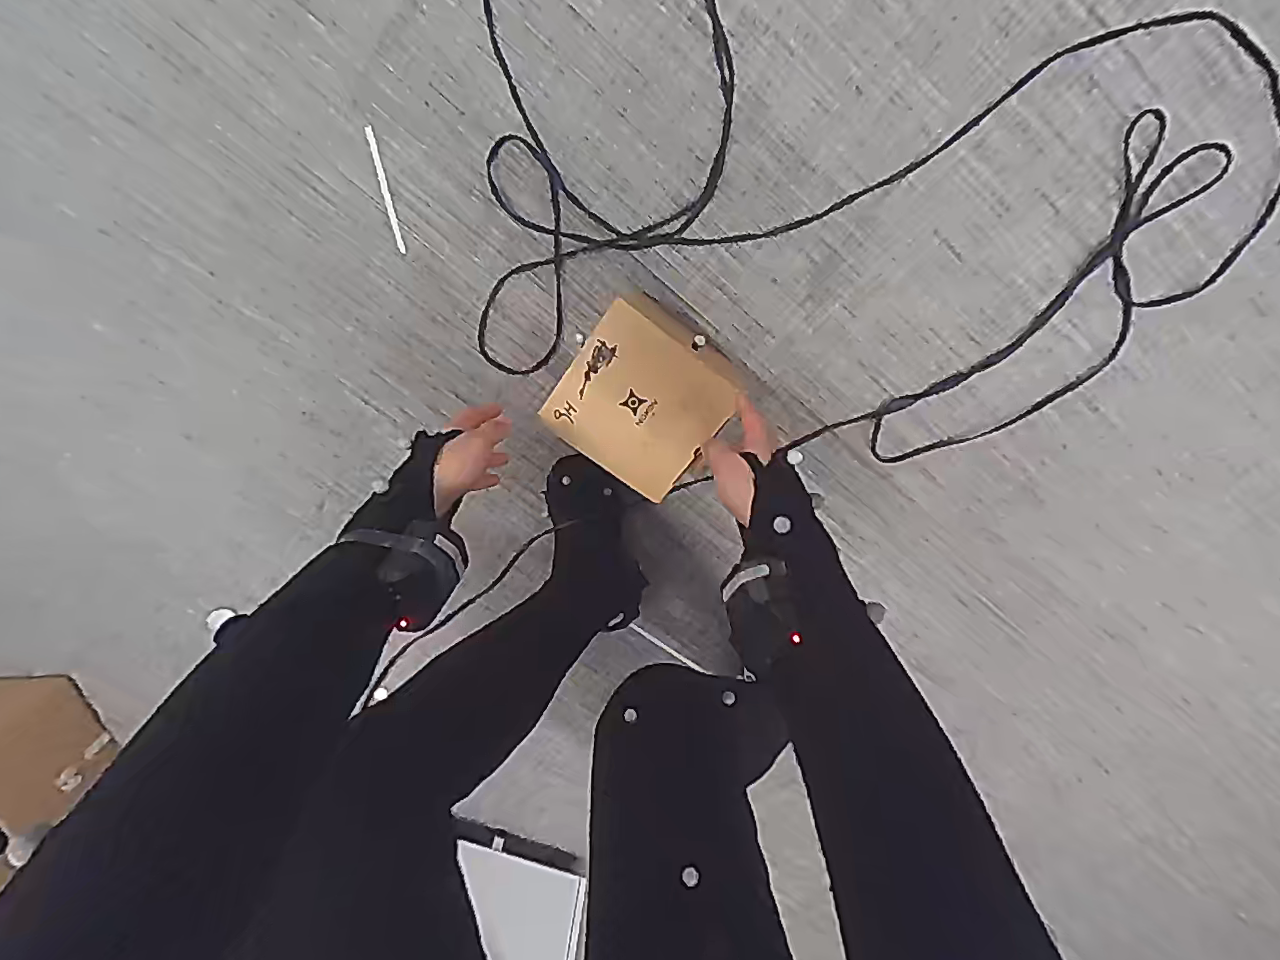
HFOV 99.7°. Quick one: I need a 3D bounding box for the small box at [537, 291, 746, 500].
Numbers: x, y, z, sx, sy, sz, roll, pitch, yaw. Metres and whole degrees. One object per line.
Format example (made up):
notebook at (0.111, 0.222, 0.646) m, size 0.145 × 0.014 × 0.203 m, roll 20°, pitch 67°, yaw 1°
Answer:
small box at (0.005, -0.113, 0.664) m, size 0.179 × 0.176 × 0.168 m, roll 35°, pitch 112°, yaw -11°
